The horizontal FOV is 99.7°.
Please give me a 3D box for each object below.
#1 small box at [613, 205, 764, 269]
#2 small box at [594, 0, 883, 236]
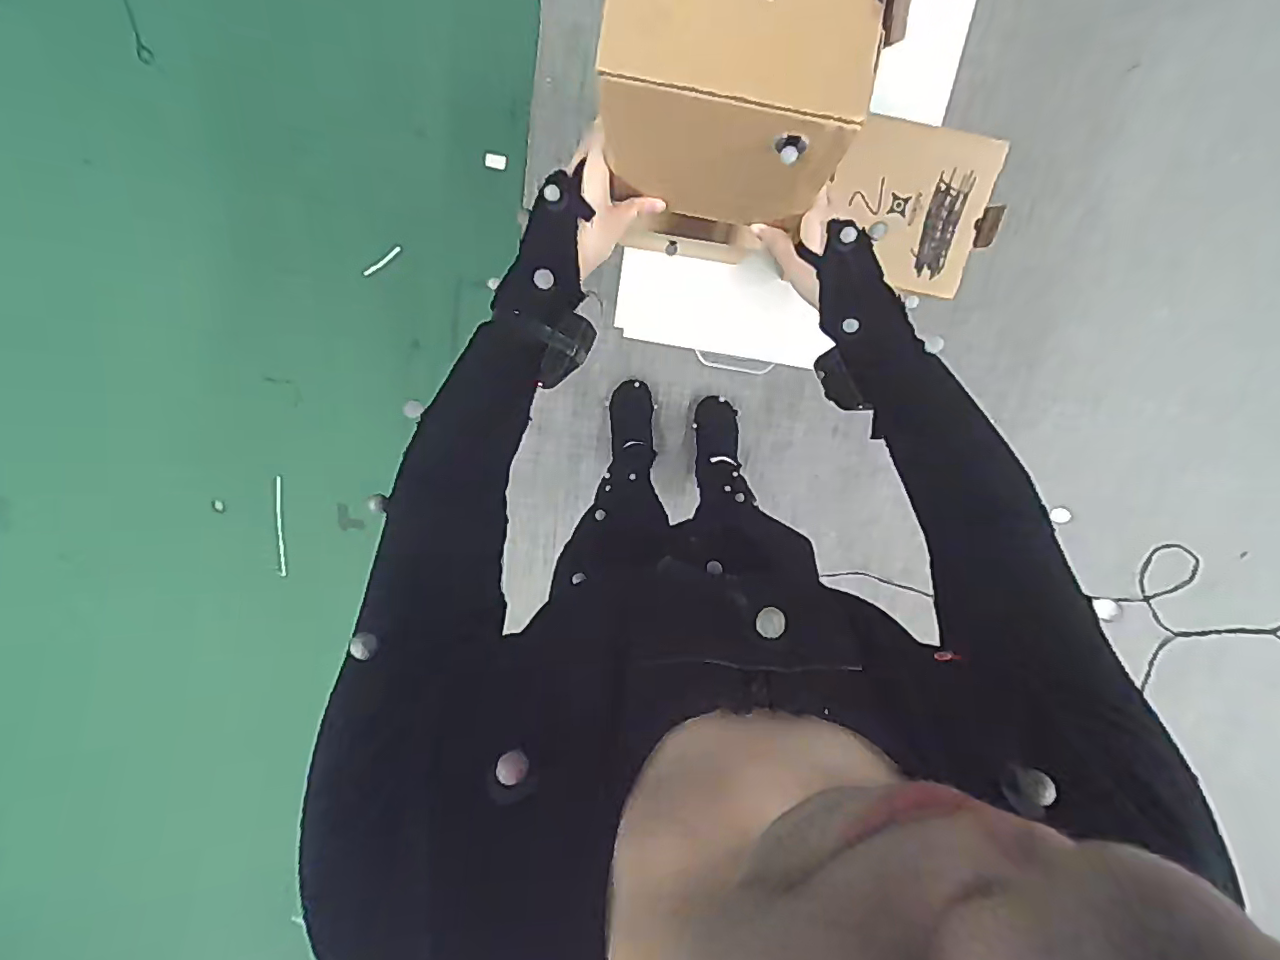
[{"bbox_3d":[0.069,-0.367,0.675,0.179,0.176,0.168,9,106,-1],"label":"small box"},{"bbox_3d":[0.067,-0.315,0.423,0.179,0.176,0.168,10,91,-2],"label":"small box"}]
